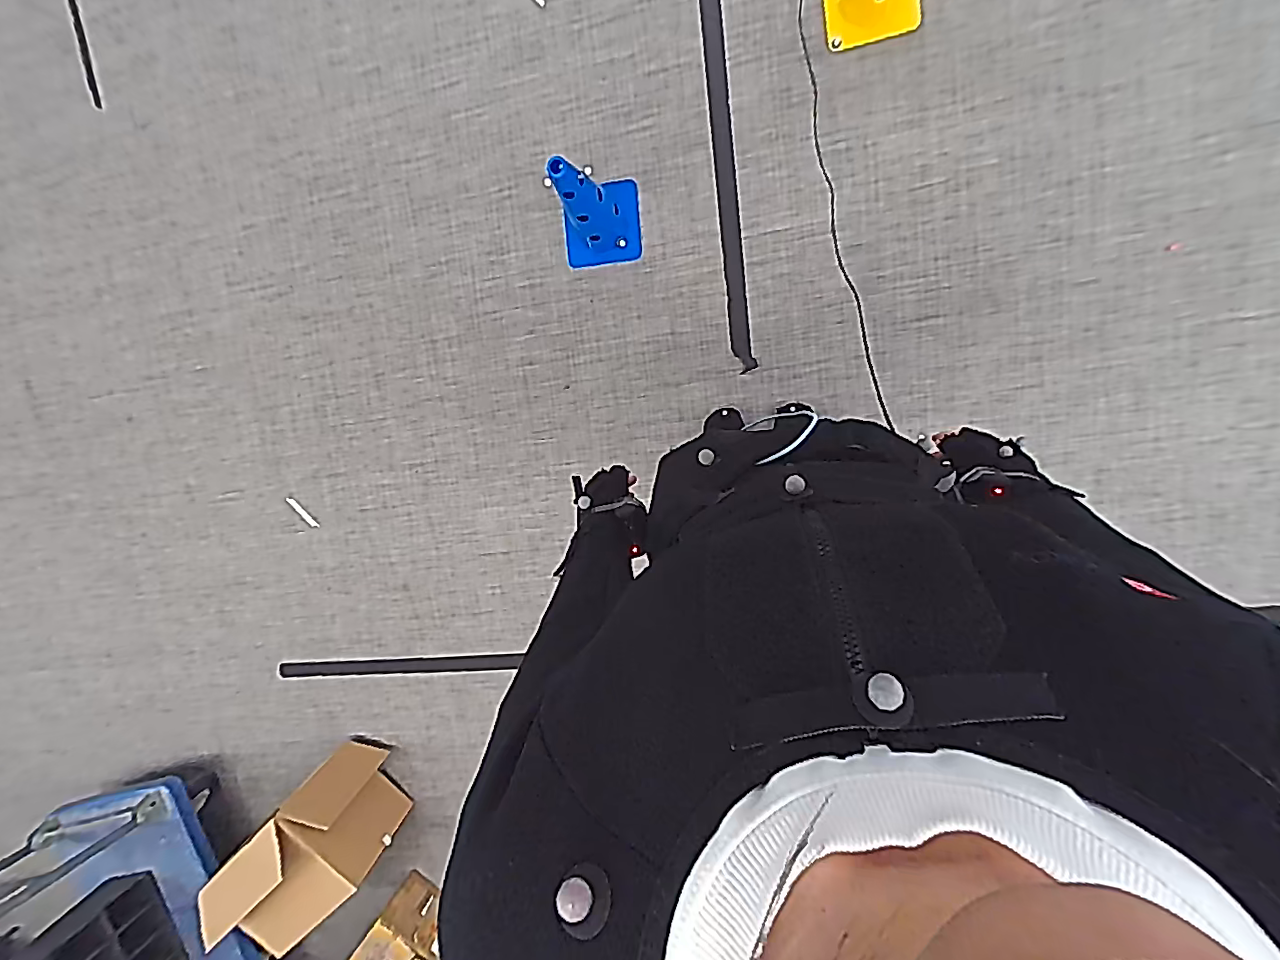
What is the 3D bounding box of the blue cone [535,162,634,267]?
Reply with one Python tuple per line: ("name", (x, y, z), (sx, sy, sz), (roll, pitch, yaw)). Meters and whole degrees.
("blue cone", (-0.143, -0.637, 1.244), (0.192, 0.380, 0.193), (-1, 97, 12))
